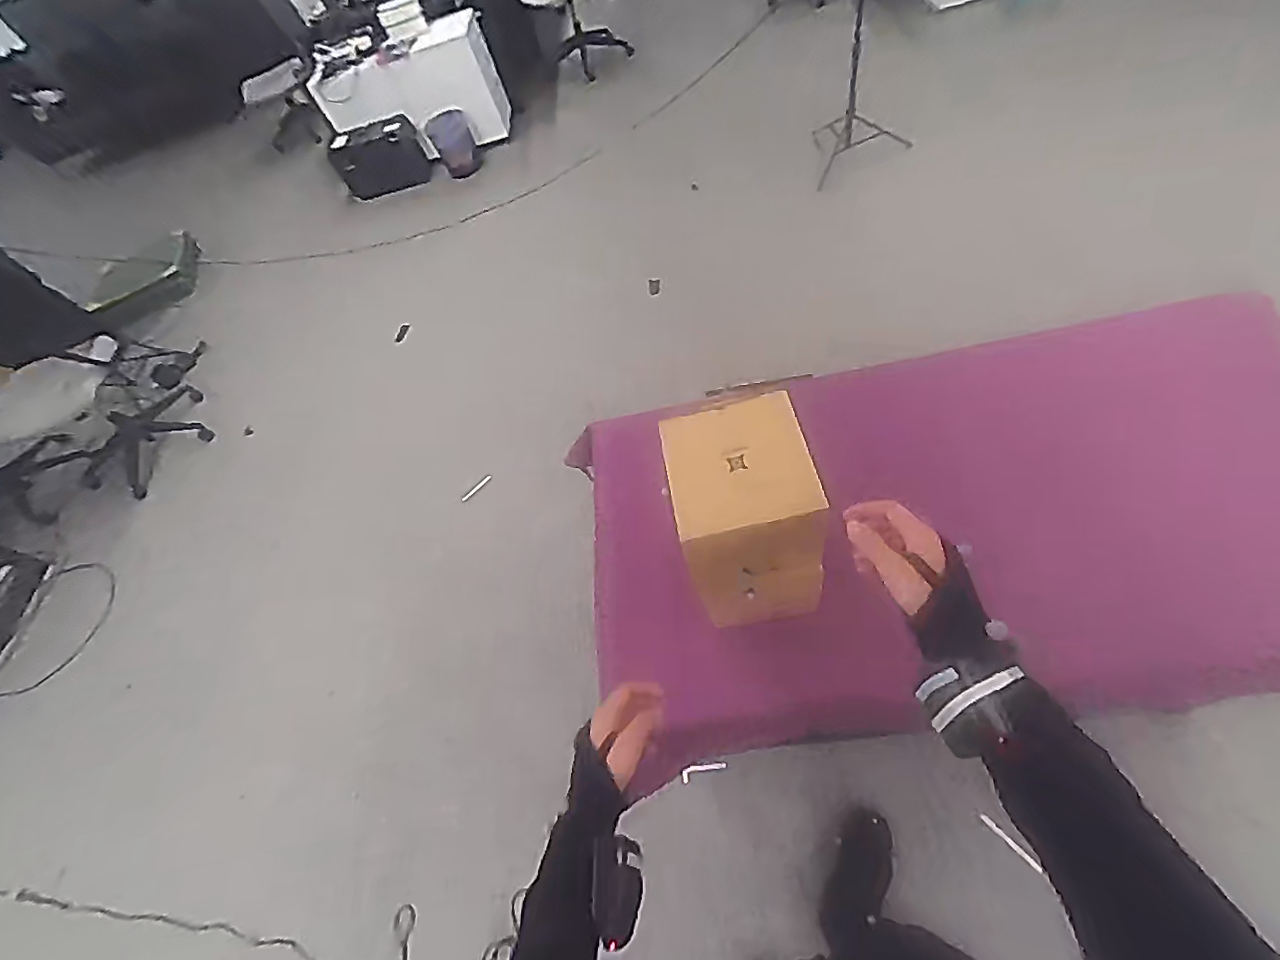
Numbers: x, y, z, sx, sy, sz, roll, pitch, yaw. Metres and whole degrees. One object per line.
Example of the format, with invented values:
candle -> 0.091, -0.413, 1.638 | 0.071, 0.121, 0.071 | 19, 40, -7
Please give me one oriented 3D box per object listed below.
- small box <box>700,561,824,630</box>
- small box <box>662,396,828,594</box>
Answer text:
small box -> 0.173, 0.111, 0.829 | 0.168, 0.176, 0.179 | -12, 56, 9
small box -> 0.131, 0.025, 0.697 | 0.168, 0.176, 0.179 | -13, 56, 7
